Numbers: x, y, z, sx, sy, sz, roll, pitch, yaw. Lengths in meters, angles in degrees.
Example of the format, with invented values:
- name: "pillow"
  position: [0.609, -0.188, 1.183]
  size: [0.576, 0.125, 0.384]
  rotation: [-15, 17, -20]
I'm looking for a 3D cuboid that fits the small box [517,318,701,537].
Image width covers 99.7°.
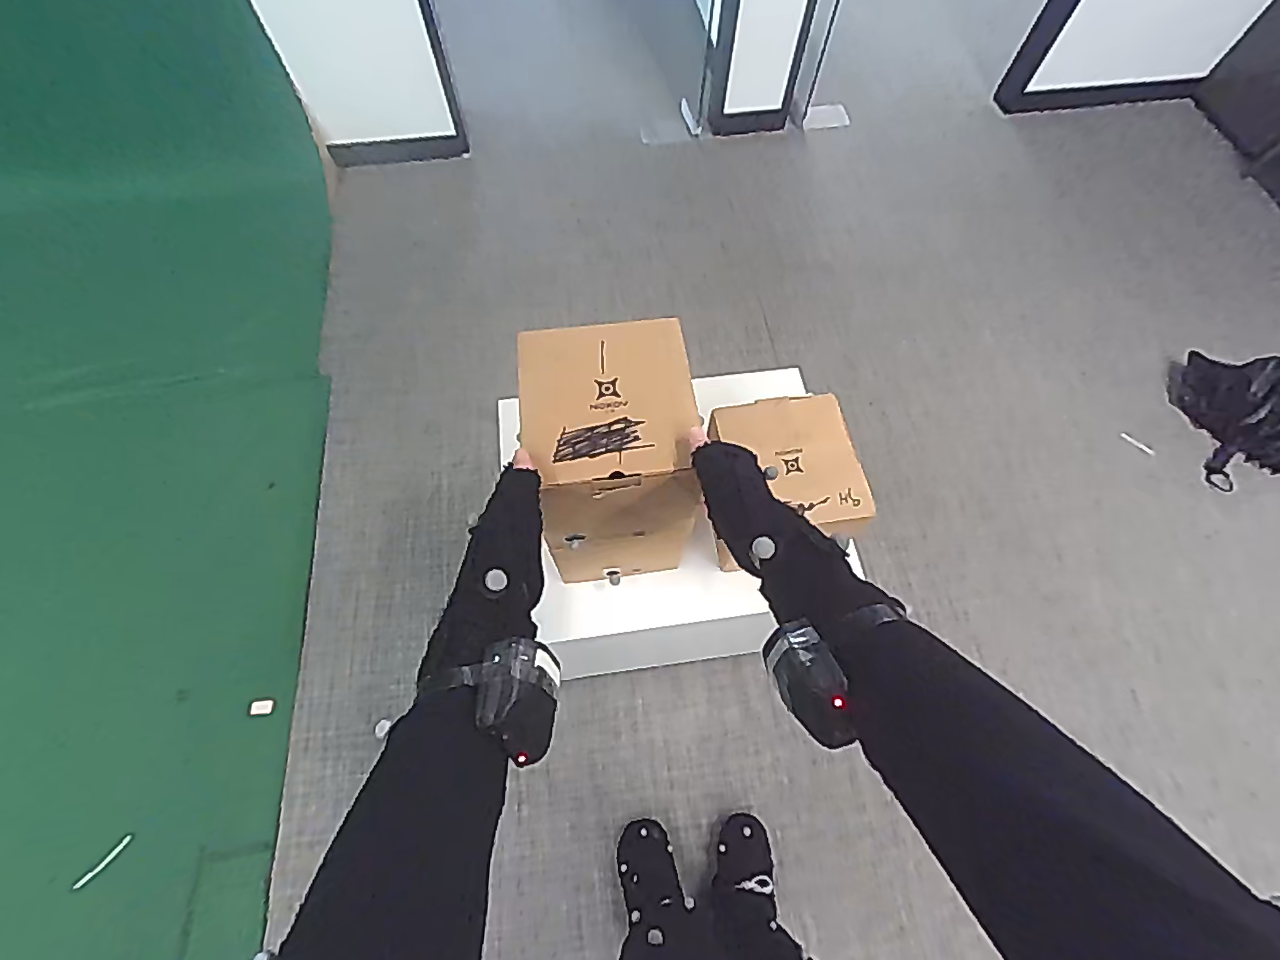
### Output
- name: "small box"
  position: [-0.033, -0.045, 0.583]
  size: [0.168, 0.176, 0.179]
  rotation: [-6, 64, -3]

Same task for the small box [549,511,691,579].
- name: "small box"
  position: [-0.036, 0.018, 0.718]
  size: [0.168, 0.176, 0.179]
  rotation: [-9, 67, -4]

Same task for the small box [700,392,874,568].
- name: "small box"
  position: [0.183, 0.005, 0.740]
  size: [0.168, 0.176, 0.179]
  rotation: [-7, 65, -4]
